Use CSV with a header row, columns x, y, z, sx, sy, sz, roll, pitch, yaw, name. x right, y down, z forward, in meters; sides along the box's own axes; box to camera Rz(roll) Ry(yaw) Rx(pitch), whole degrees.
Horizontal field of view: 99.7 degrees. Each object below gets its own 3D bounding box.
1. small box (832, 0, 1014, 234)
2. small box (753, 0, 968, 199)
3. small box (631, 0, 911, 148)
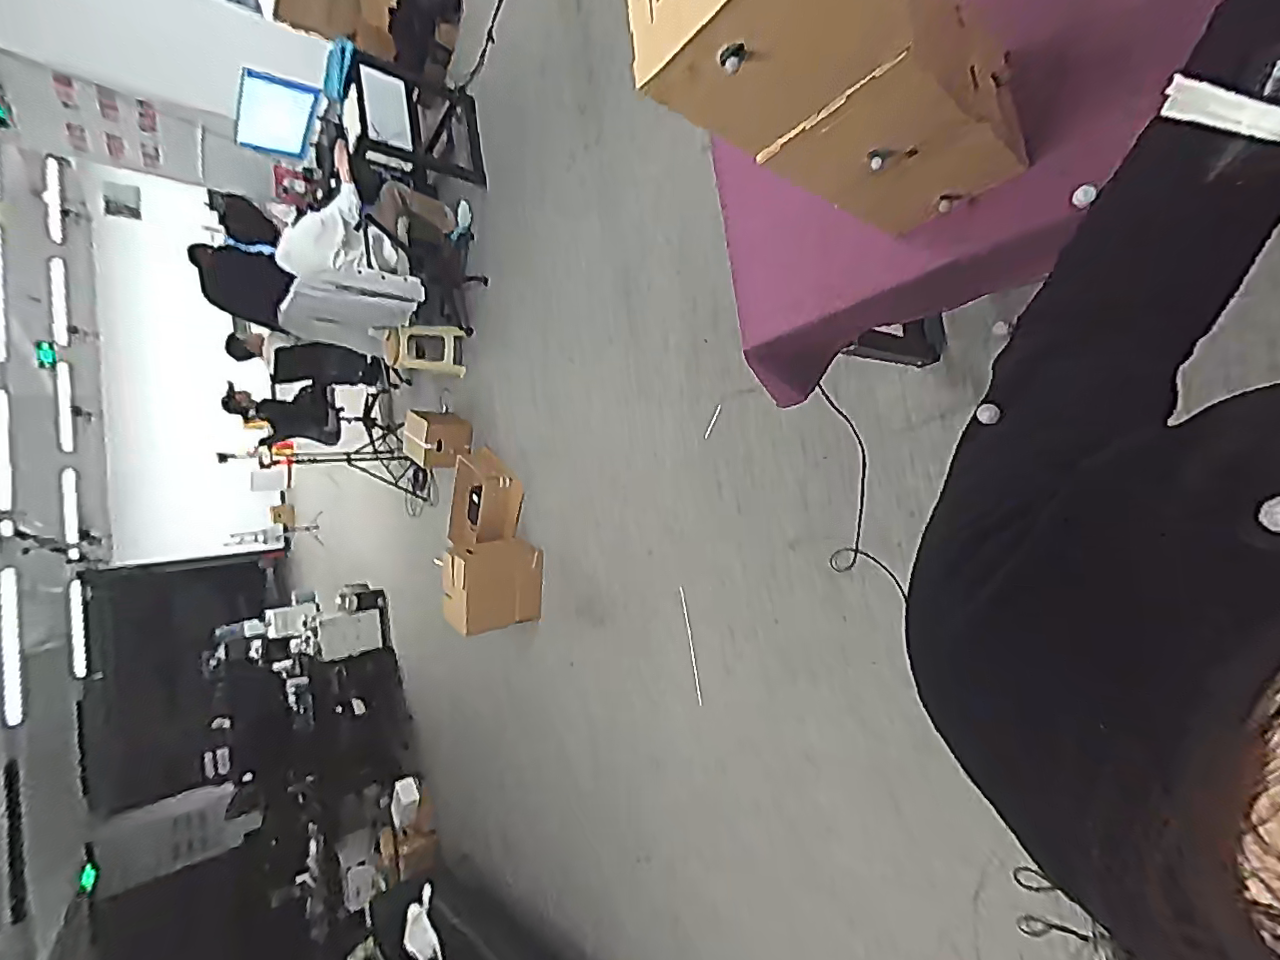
x,y,z,sx,sy,sz,roll,pitch,yaw,name
0.355,-0.451,0.698,0.179,0.176,0.168,-16,81,48,small box
0.230,-0.447,0.590,0.168,0.176,0.179,-13,83,49,small box
0.109,-0.439,0.479,0.179,0.176,0.168,-11,85,48,small box
